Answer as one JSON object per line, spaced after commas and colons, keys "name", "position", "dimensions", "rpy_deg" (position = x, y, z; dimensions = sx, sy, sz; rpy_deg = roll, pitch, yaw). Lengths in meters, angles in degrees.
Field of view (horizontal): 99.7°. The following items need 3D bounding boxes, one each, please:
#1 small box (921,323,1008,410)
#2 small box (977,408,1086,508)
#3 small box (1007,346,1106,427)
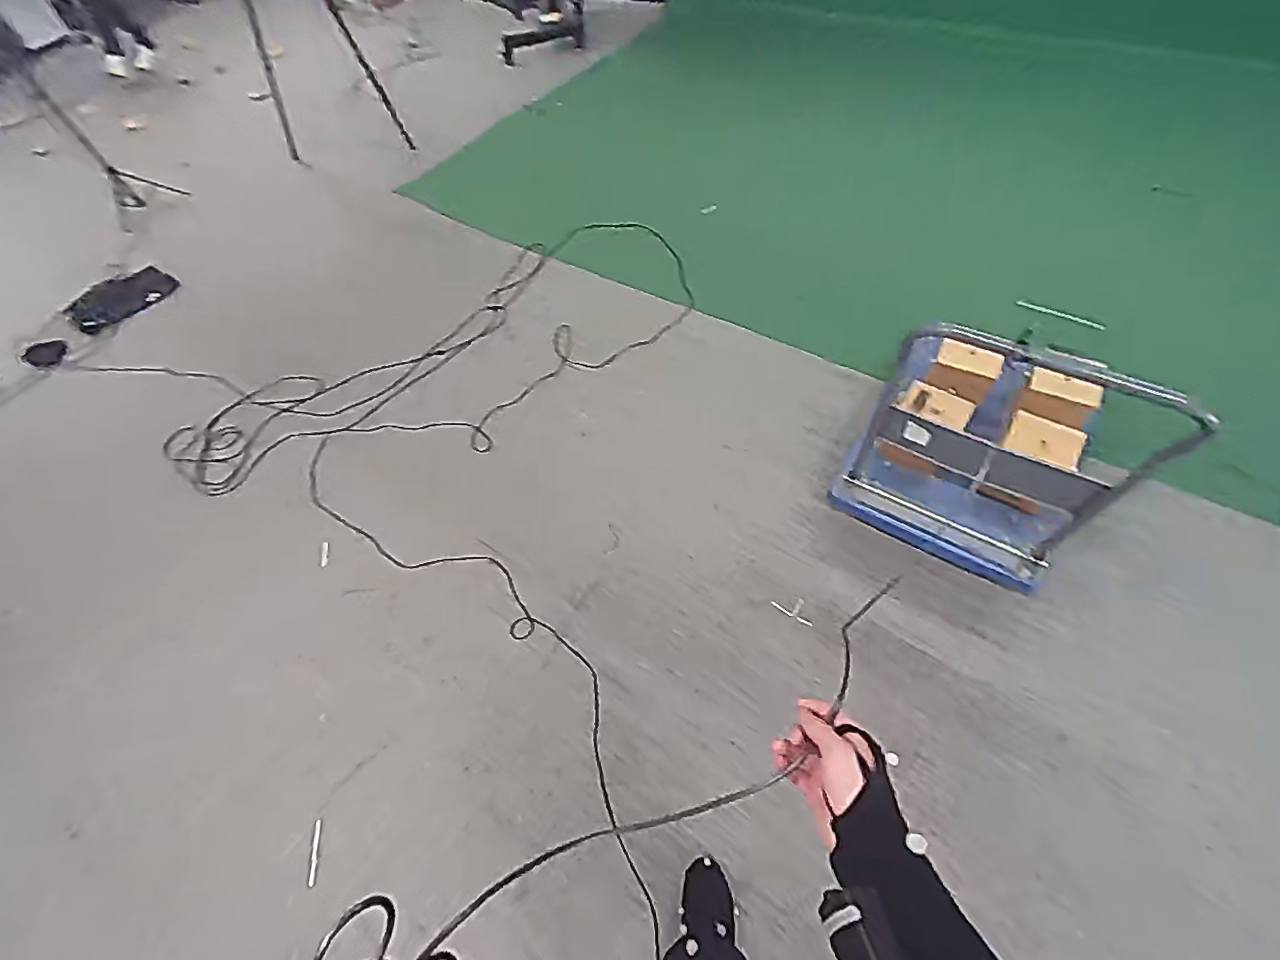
{"name": "small box", "position": [0.992, -0.347, 1.669], "dimensions": [0.168, 0.176, 0.179], "rpy_deg": [24, 63, 20]}
{"name": "small box", "position": [1.057, -0.058, 1.473], "dimensions": [0.168, 0.176, 0.179], "rpy_deg": [28, 66, 23]}
{"name": "small box", "position": [1.208, -0.255, 1.579], "dimensions": [0.168, 0.176, 0.179], "rpy_deg": [23, 64, 22]}
